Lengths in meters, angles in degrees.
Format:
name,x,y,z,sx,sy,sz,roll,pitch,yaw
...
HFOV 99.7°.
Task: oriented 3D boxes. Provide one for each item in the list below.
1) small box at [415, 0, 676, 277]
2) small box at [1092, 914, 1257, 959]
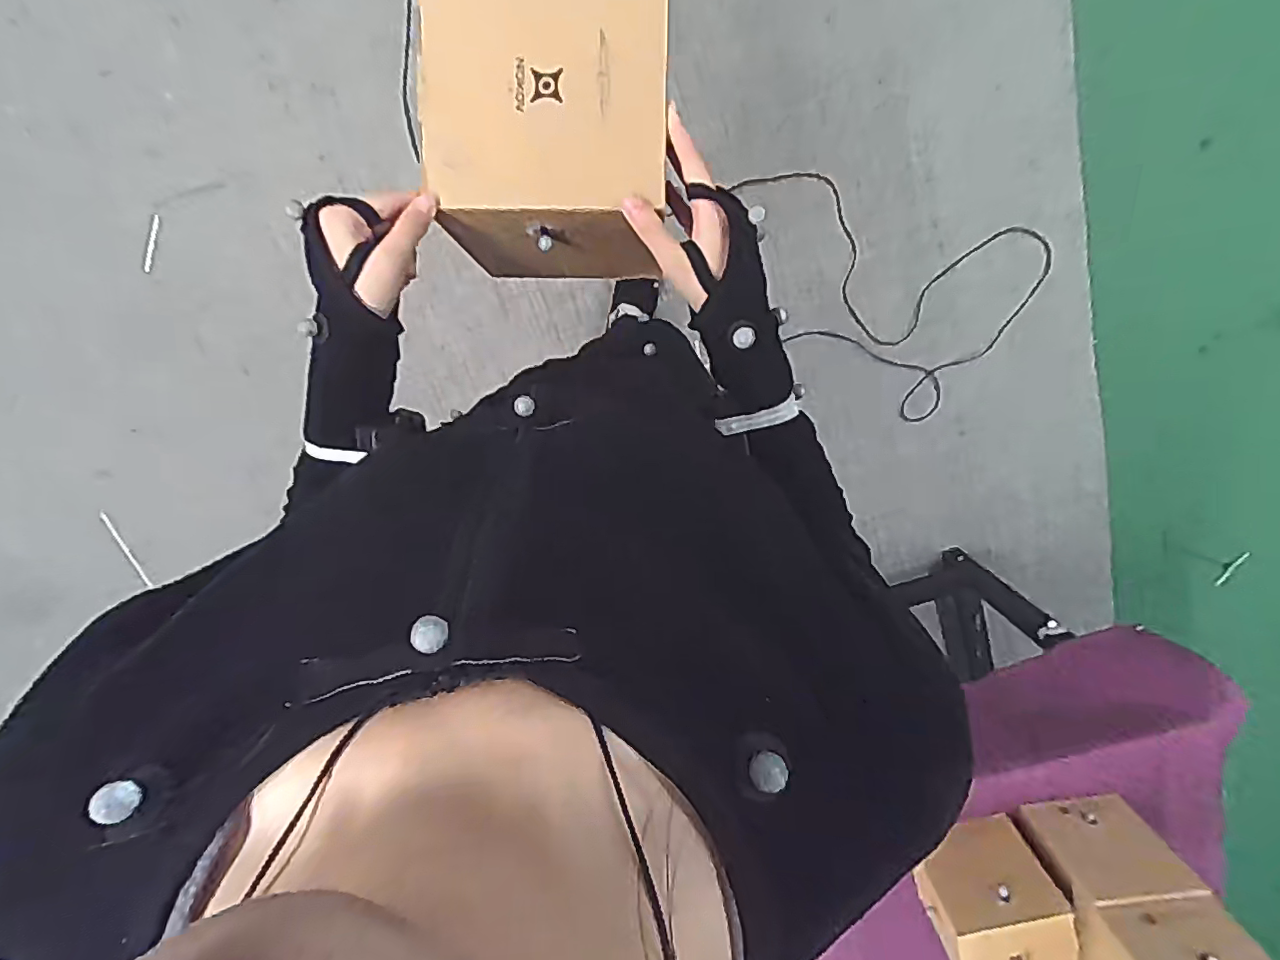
name,x,y,z,sx,sy,sz,roll,pitch,yaw
small box,-0.063,-0.276,0.446,0.179,0.176,0.168,2,94,1
small box,0.747,0.722,0.723,0.168,0.176,0.179,-9,106,2
